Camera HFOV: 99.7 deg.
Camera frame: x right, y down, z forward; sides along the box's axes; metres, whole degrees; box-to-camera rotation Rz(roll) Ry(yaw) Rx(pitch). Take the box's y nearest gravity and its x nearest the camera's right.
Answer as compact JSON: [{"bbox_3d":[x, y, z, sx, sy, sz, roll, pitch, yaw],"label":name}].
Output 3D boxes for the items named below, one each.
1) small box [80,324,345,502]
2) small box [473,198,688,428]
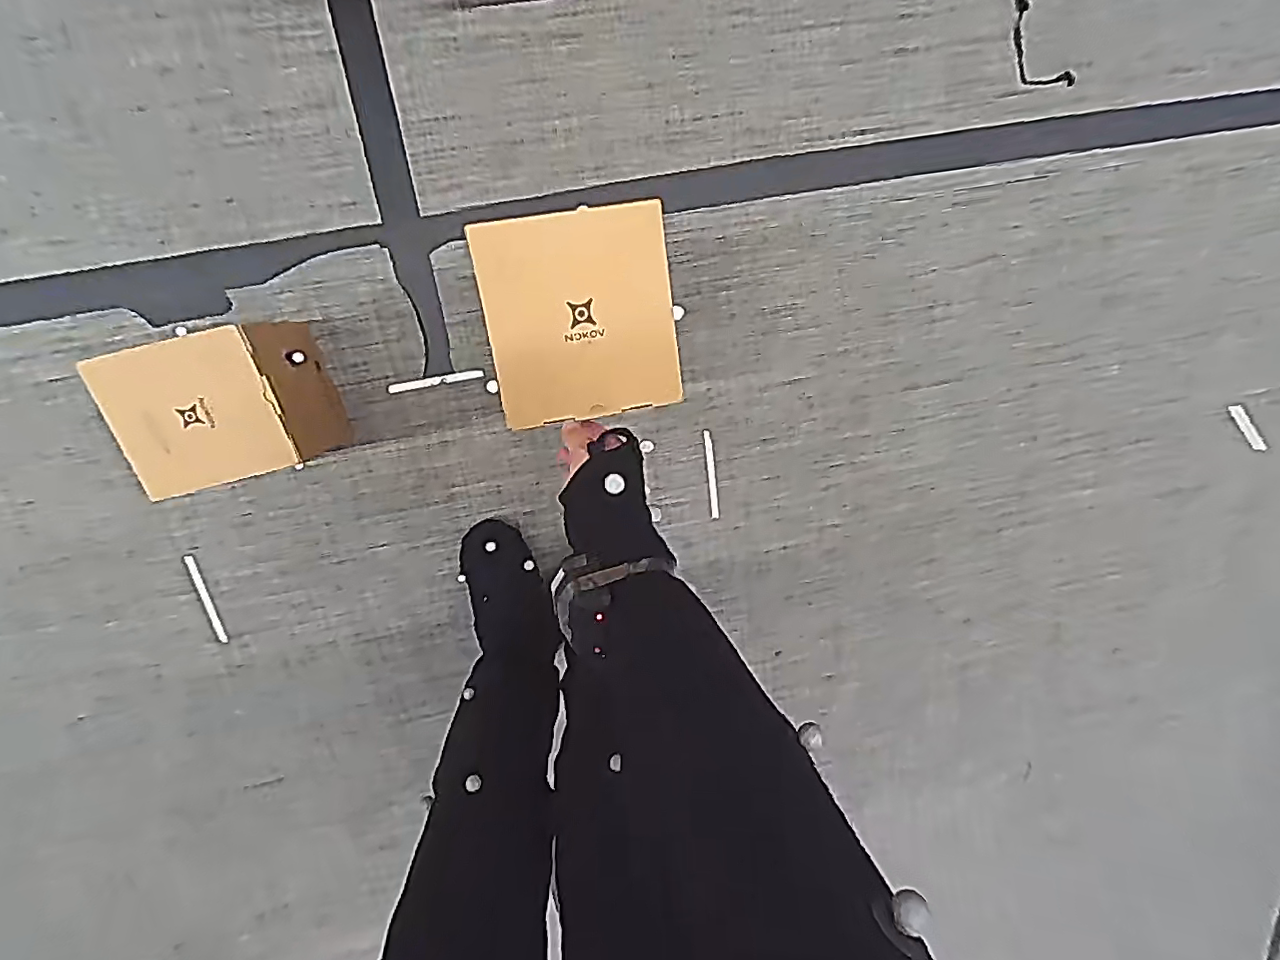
[{"bbox_3d":[-0.500,-0.094,0.673,0.179,0.176,0.168,-16,107,-2],"label":"small box"},{"bbox_3d":[-0.059,-0.163,0.544,0.168,0.176,0.179,-11,109,-6],"label":"small box"}]
